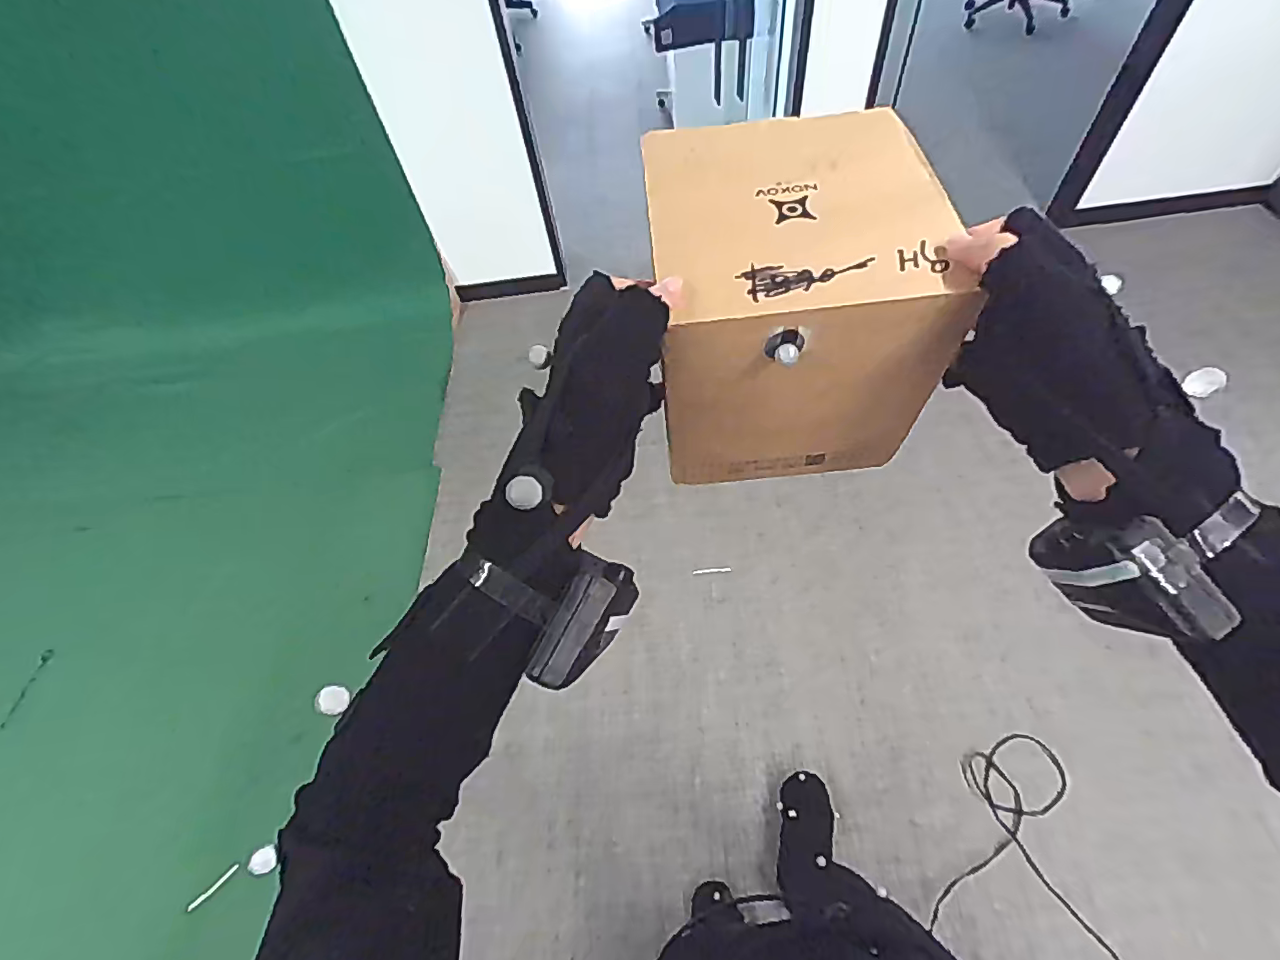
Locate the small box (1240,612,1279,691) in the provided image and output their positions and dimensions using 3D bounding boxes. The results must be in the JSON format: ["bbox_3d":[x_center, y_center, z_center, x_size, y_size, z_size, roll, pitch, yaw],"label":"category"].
[{"bbox_3d":[1.555,0.387,1.227,0.168,0.176,0.179,-6,54,3],"label":"small box"}]

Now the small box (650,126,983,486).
[{"bbox_3d":[0.096,-0.115,0.388,0.168,0.176,0.179,-5,58,3],"label":"small box"}]
